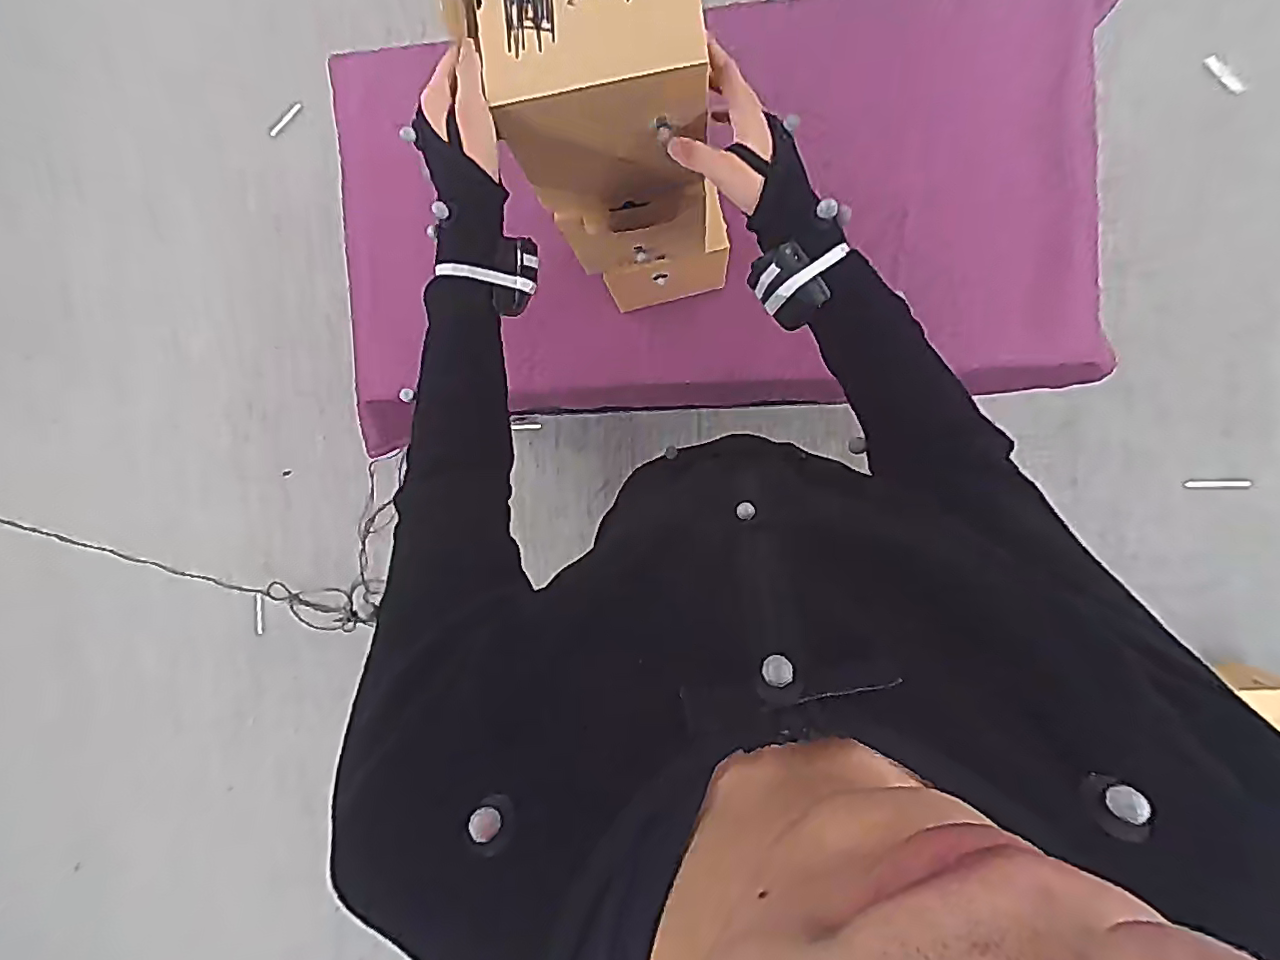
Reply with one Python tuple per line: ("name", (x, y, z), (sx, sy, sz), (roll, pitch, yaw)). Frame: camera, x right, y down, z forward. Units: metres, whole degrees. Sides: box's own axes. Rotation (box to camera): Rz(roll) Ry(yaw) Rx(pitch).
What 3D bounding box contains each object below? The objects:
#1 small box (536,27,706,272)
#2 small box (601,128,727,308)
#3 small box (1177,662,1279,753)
("small box", (-0.013, -0.374, 0.644), (0.168, 0.176, 0.179), (-7, 91, 7))
("small box", (0.027, -0.373, 0.806), (0.179, 0.176, 0.168), (-12, 90, 6))
("small box", (1.545, 0.582, 1.396), (0.179, 0.176, 0.168), (-5, 92, 7))
